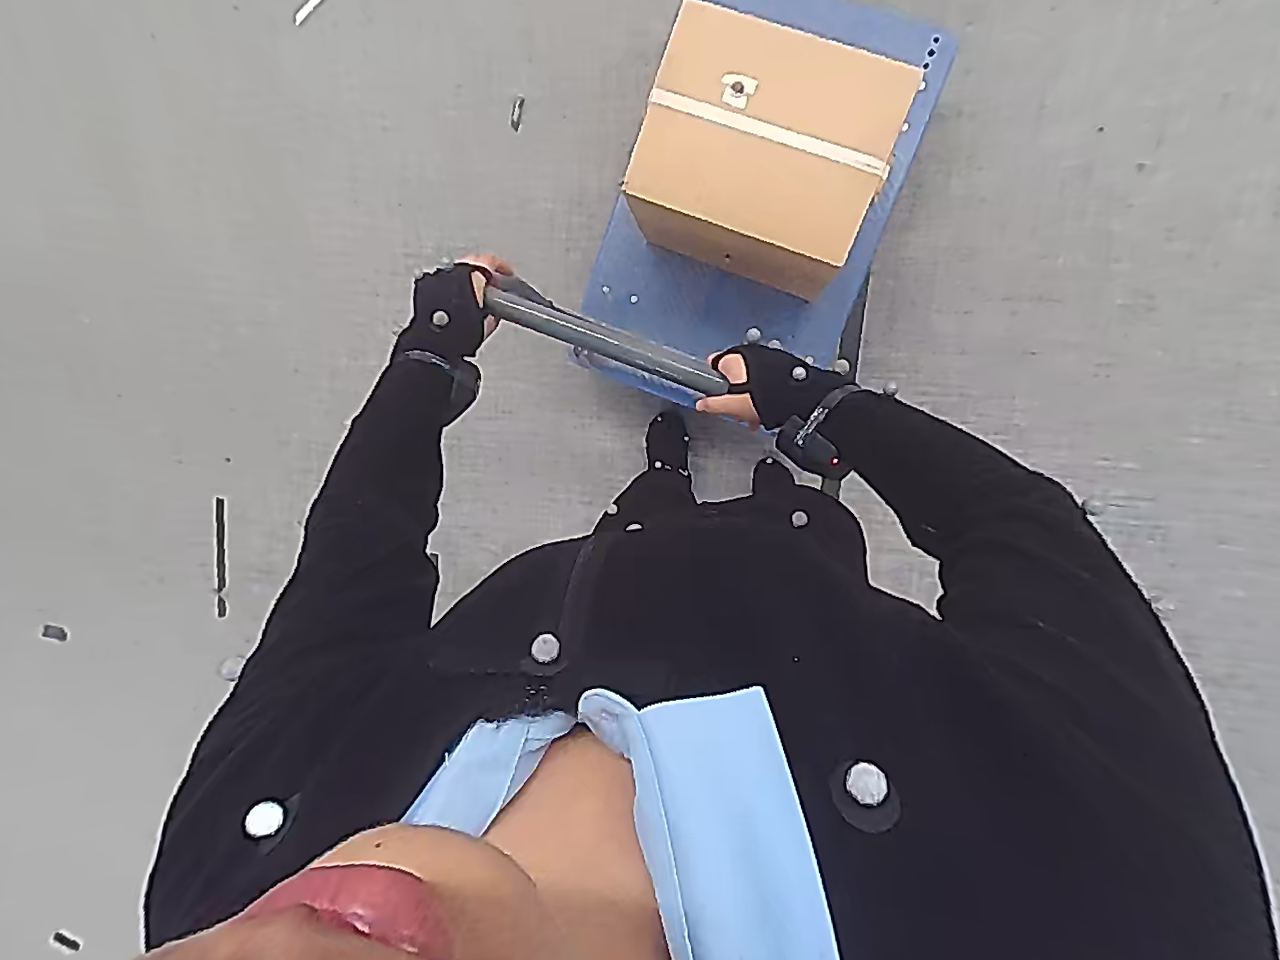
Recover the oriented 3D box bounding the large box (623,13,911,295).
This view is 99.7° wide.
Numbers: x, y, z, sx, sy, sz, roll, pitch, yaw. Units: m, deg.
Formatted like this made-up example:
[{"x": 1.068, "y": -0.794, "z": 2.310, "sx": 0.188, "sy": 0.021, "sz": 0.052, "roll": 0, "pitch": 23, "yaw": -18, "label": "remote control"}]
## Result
[{"x": 0.229, "y": -0.596, "z": 1.056, "sx": 0.408, "sy": 0.320, "sz": 0.320, "roll": 22, "pitch": 100, "yaw": 7, "label": "large box"}]
